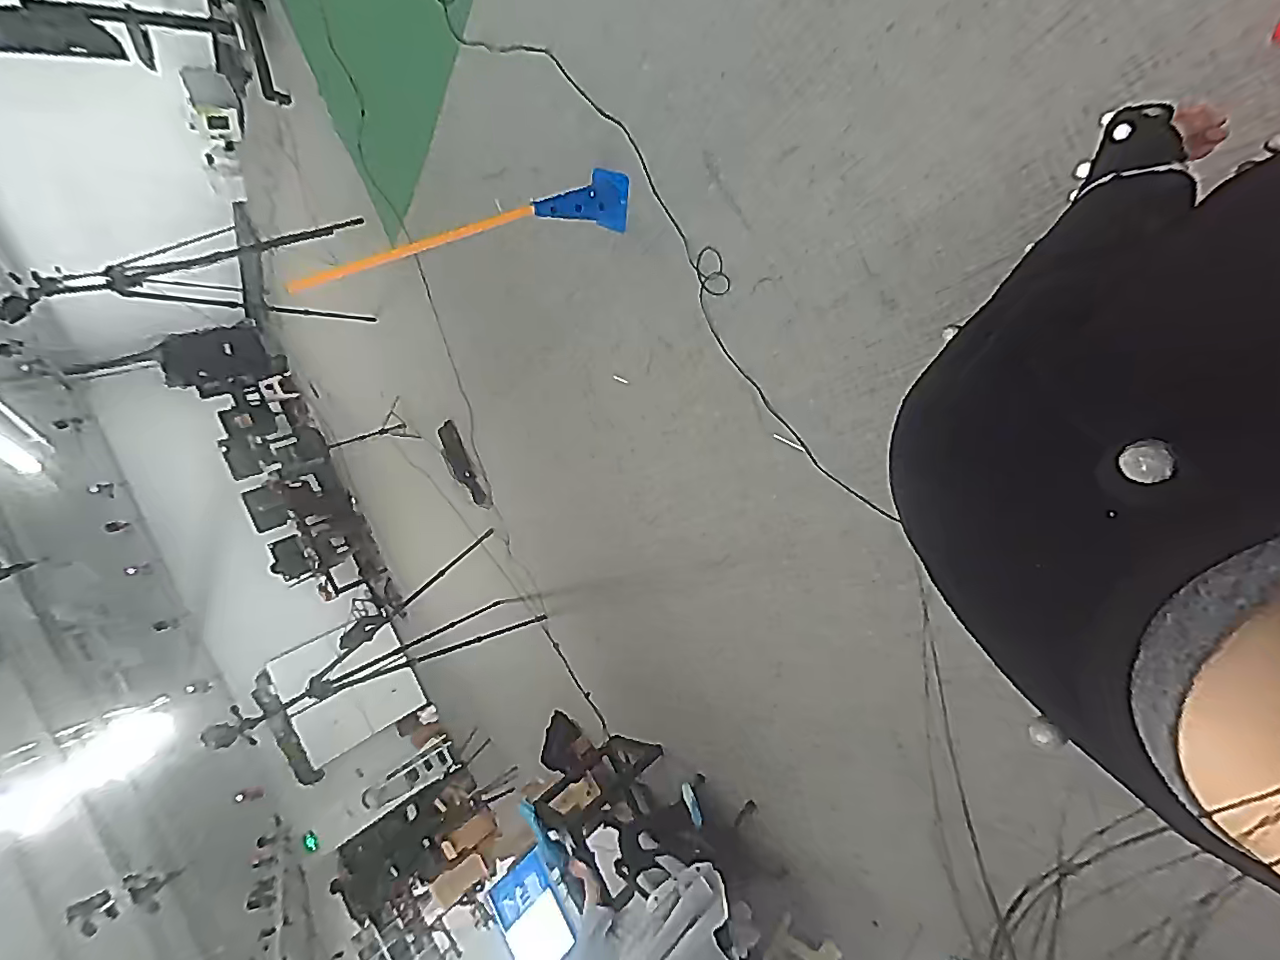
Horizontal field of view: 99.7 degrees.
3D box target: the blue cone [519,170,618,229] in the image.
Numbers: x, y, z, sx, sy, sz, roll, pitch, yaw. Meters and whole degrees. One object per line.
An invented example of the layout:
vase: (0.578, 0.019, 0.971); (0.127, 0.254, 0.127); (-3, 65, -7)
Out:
blue cone: (-0.266, -1.004, 1.961); (0.192, 0.380, 0.193); (34, 136, 33)
